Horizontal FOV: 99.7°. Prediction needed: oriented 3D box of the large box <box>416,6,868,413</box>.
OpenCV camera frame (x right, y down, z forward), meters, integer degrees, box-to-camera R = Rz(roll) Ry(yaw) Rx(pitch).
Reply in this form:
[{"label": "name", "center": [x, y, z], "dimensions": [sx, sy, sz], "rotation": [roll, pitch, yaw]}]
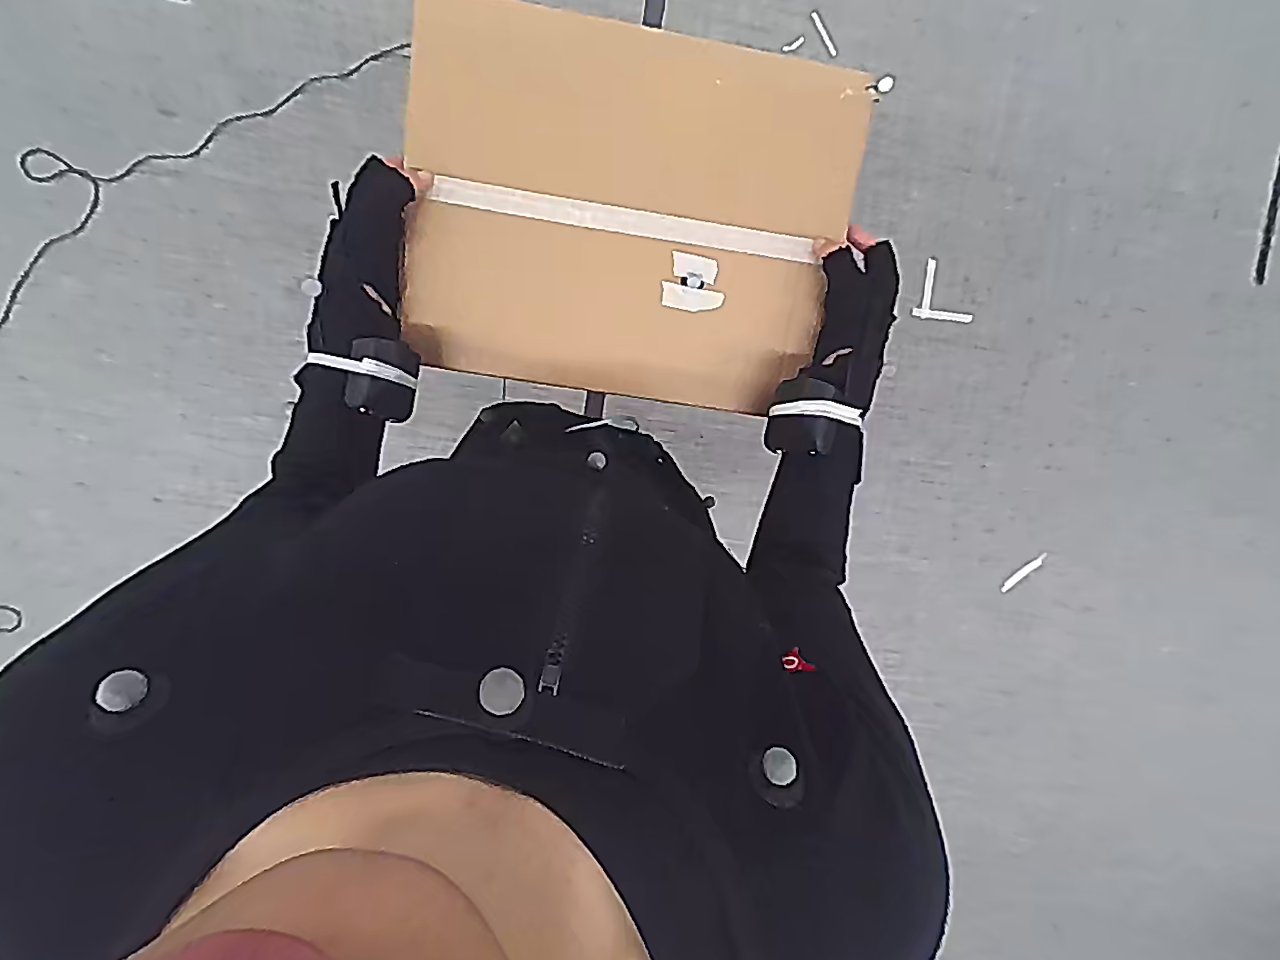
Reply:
[{"label": "large box", "center": [-0.014, -0.270, 0.656], "dimensions": [0.408, 0.320, 0.320], "rotation": [8, 102, -5]}]
